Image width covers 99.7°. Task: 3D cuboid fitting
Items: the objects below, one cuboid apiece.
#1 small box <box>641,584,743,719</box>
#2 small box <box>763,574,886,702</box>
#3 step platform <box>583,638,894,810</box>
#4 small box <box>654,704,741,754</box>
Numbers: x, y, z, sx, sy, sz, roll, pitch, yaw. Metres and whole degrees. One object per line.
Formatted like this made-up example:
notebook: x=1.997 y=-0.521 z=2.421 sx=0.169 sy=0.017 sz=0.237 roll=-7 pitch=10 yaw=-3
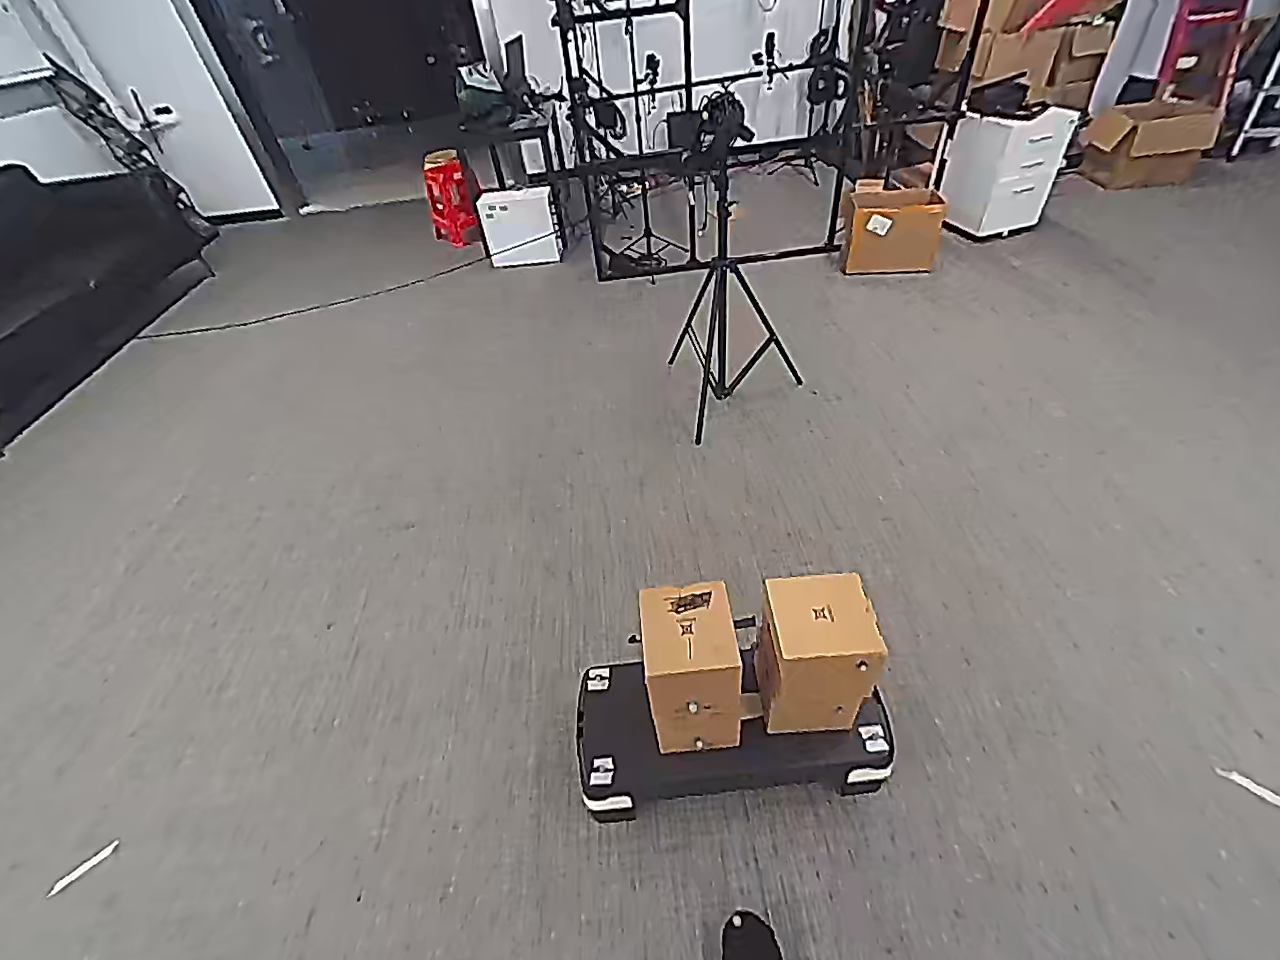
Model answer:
small box: x=0.093 y=0.321 z=1.014 sx=0.168 sy=0.176 sz=0.179 roll=-7 pitch=43 yaw=1
small box: x=0.329 y=0.298 z=1.007 sx=0.179 sy=0.176 sz=0.168 roll=-5 pitch=43 yaw=2
step platform: x=0.210 y=0.546 z=1.253 sx=0.684 sy=0.204 sz=0.286 roll=-8 pitch=43 yaw=1
small box: x=0.111 y=0.442 z=1.123 sx=0.168 sy=0.176 sz=0.179 roll=-6 pitch=43 yaw=2
